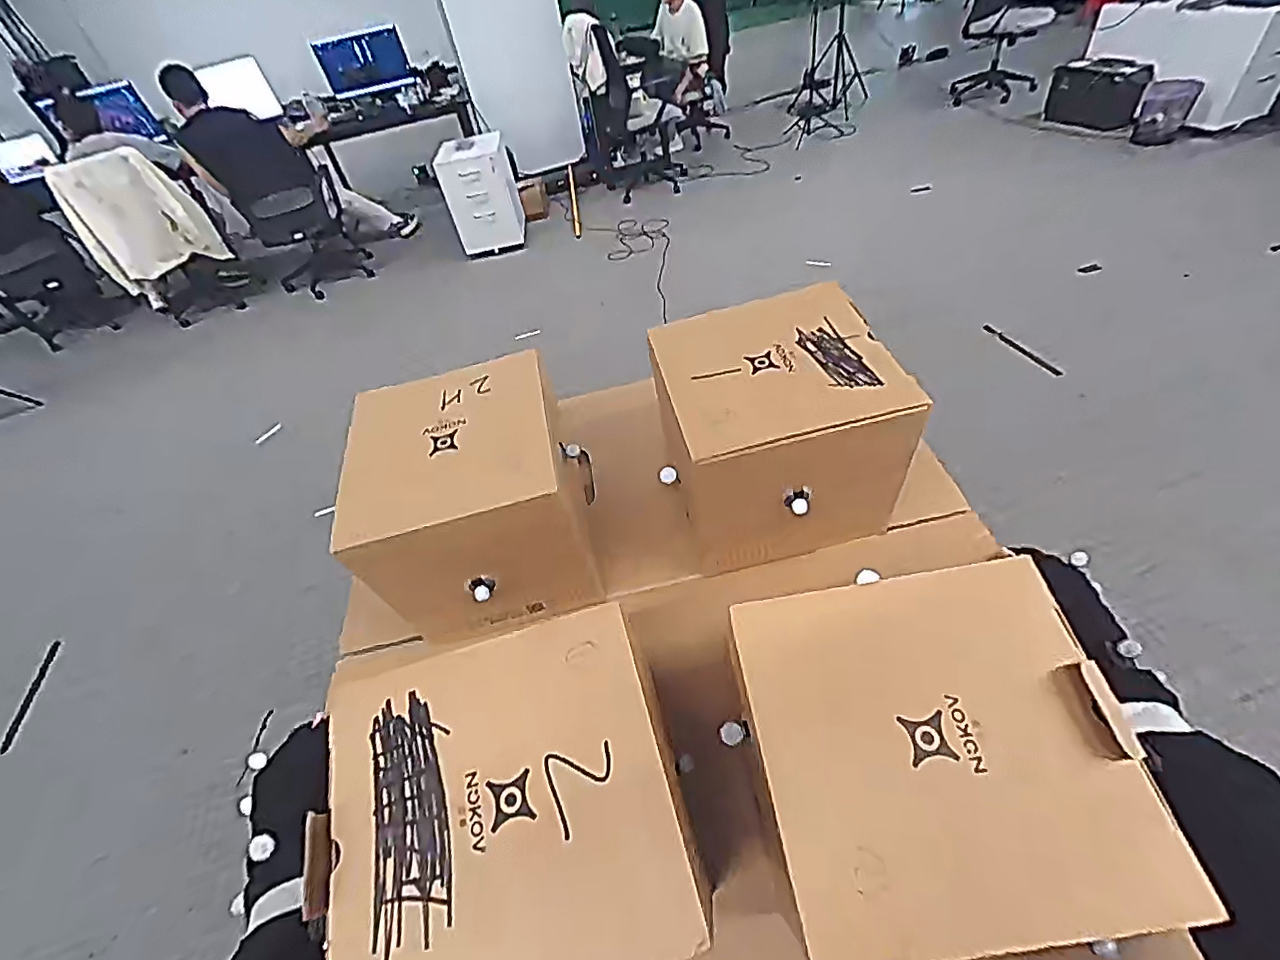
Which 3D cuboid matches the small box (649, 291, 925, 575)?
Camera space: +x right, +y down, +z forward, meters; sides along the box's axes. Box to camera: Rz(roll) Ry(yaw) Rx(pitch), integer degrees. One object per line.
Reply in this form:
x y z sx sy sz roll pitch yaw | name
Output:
0.116 -0.036 0.490 0.179 0.176 0.168 -14 51 1 | small box

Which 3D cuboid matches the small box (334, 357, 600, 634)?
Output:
-0.140 0.022 0.493 0.168 0.176 0.179 -14 49 -1 | small box
